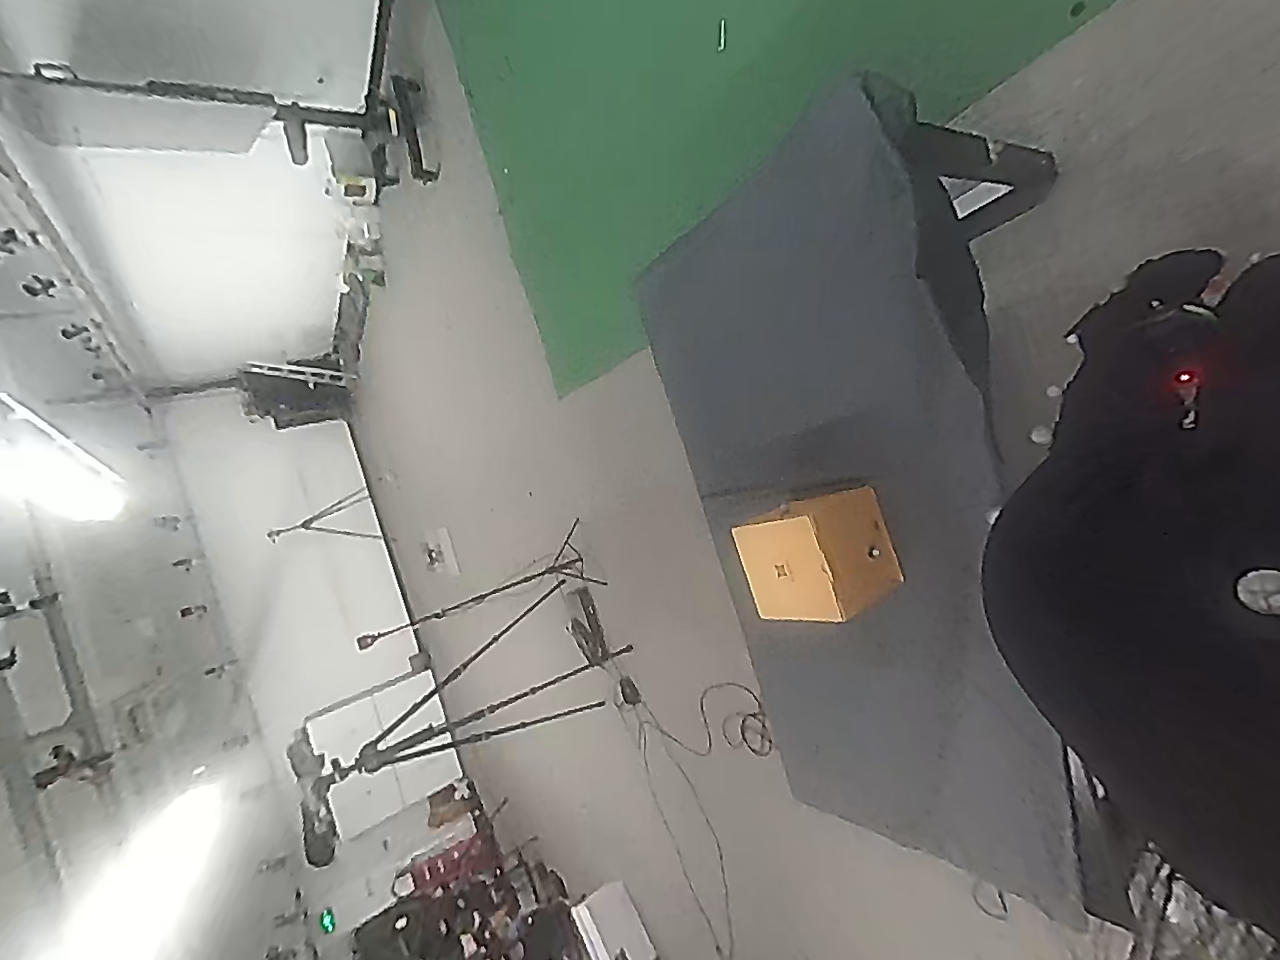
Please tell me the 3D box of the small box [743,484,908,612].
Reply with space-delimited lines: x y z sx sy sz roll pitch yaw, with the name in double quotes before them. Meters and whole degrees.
"small box" 0.312 0.115 0.916 0.179 0.176 0.168 -21 87 56
